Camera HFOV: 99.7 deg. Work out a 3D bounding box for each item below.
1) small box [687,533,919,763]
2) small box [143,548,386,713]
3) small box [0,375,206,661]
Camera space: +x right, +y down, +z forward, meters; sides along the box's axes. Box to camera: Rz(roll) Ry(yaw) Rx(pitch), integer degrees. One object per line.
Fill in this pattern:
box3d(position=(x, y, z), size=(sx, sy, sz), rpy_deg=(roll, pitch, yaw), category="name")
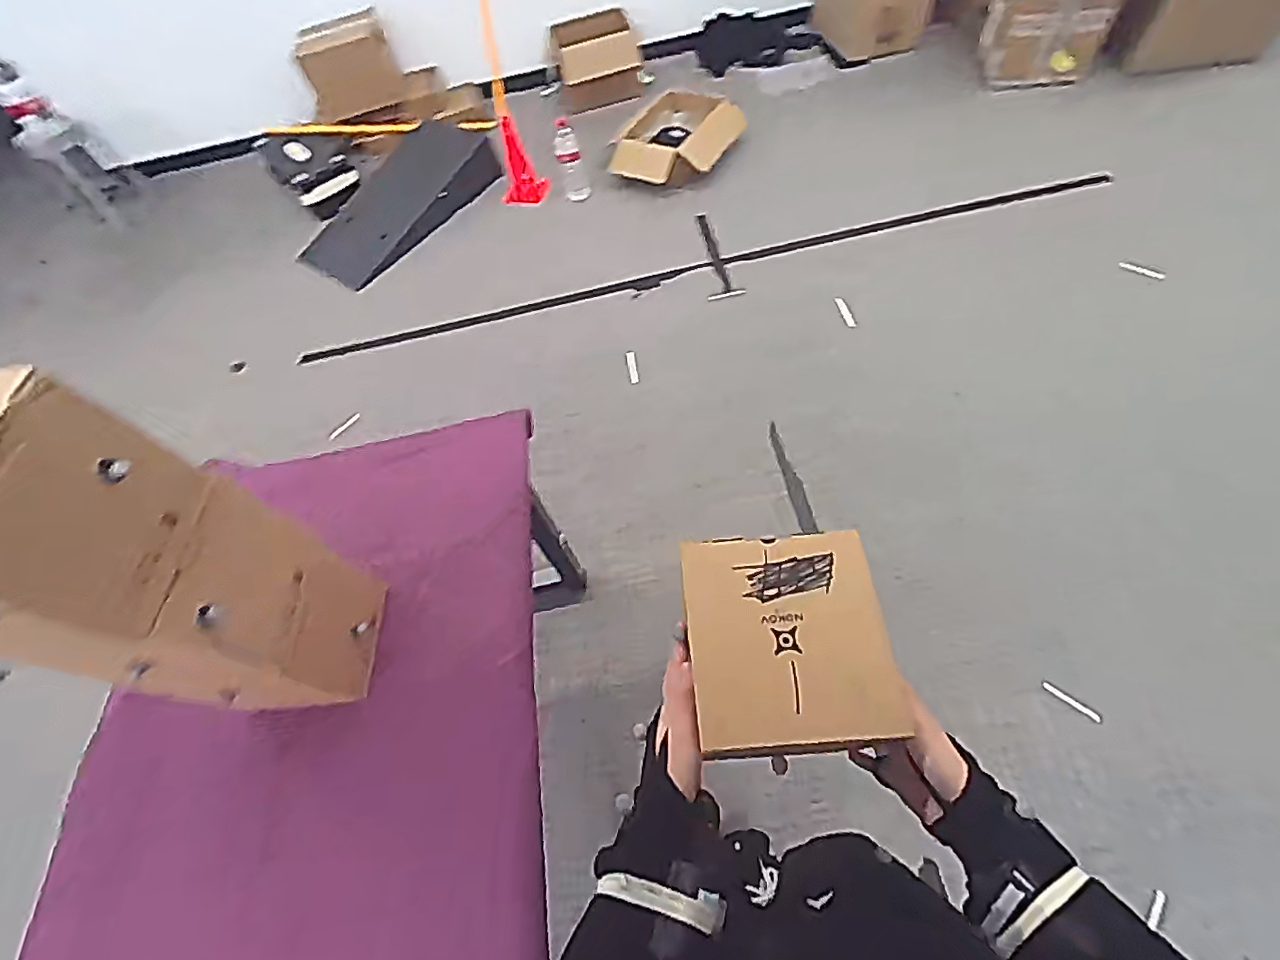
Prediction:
box3d(position=(0.133, 0.168, 0.521), size=(0.168, 0.176, 0.179), rpy_deg=(-4, 60, 3), category="small box")
box3d(position=(-0.473, 0.205, 0.714), size=(0.179, 0.176, 0.168), rpy_deg=(-7, 59, 5), category="small box")
box3d(position=(-0.512, 0.041, 0.434), size=(0.179, 0.176, 0.168), rpy_deg=(-6, 58, 7), category="small box")
